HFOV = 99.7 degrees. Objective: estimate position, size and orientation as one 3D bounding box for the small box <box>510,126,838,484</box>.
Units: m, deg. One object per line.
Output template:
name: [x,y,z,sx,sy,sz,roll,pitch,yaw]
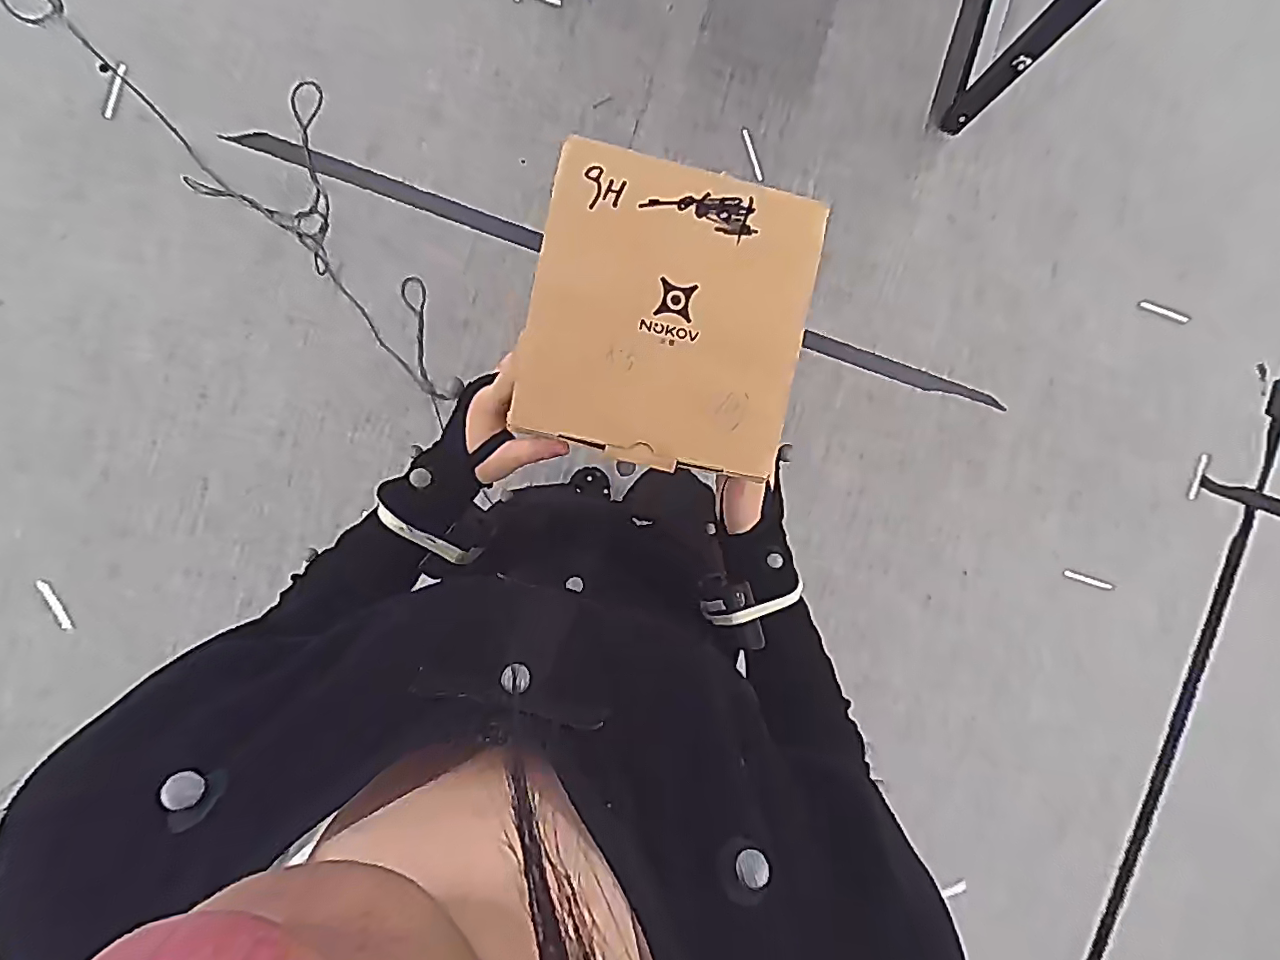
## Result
small box: [0.013,-0.105,0.396,0.168,0.176,0.179,12,93,-7]
